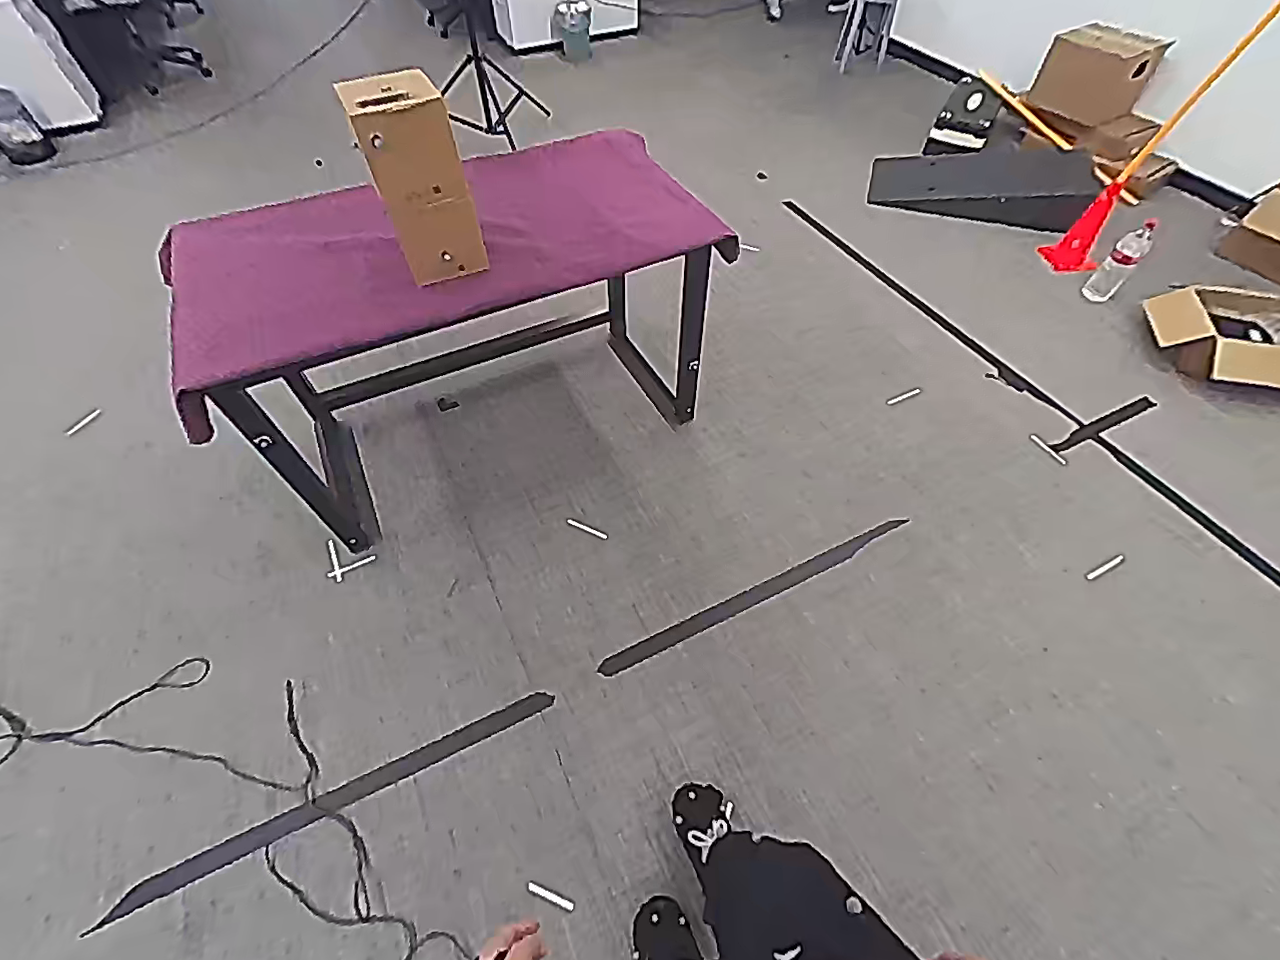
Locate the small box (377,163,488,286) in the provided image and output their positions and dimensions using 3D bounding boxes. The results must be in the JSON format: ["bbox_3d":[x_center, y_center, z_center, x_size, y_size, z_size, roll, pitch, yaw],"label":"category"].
[{"bbox_3d":[-0.450,-0.558,1.185,0.168,0.176,0.179,-21,57,-13],"label":"small box"}]
